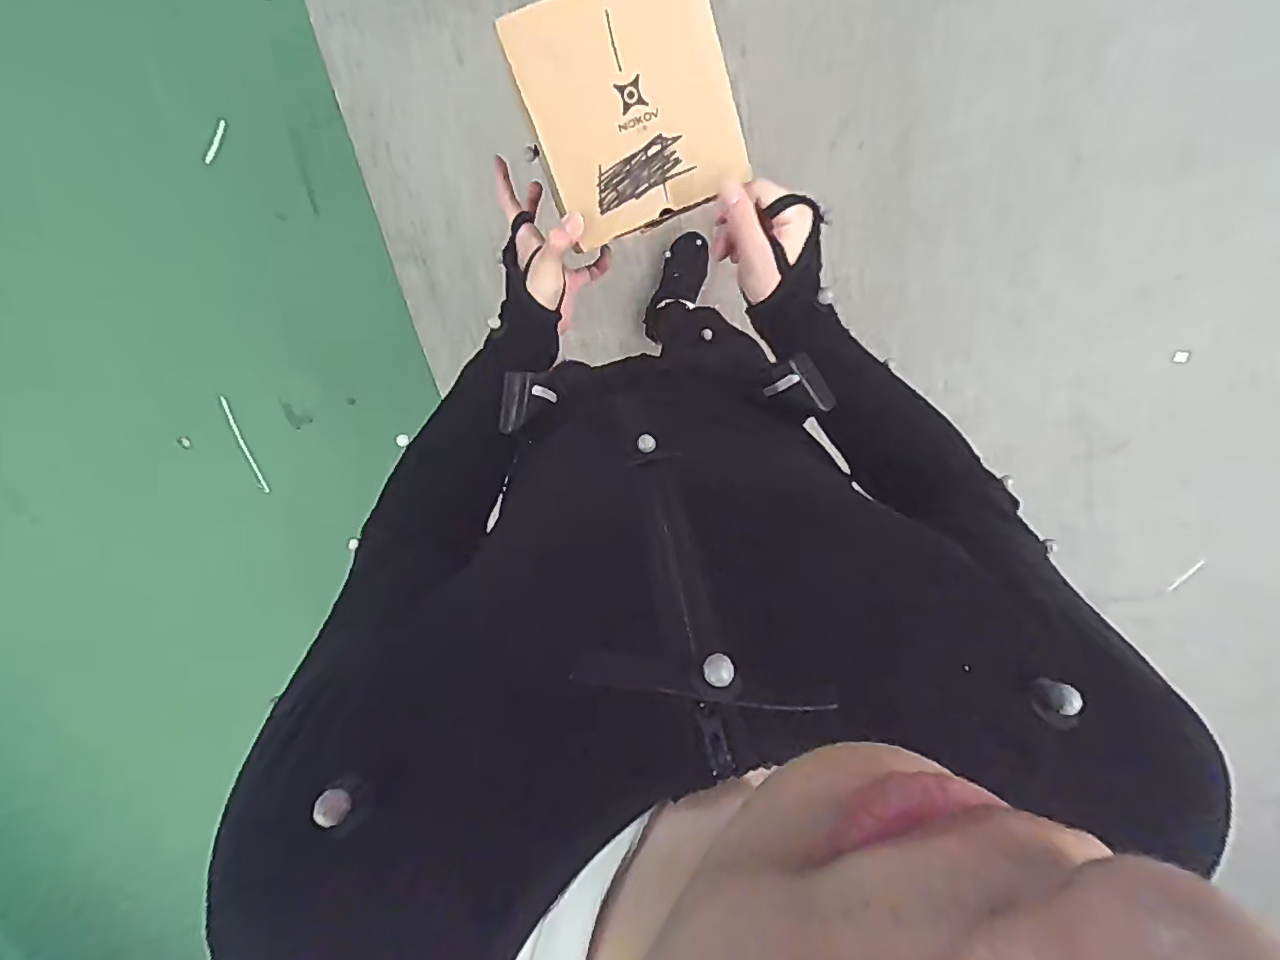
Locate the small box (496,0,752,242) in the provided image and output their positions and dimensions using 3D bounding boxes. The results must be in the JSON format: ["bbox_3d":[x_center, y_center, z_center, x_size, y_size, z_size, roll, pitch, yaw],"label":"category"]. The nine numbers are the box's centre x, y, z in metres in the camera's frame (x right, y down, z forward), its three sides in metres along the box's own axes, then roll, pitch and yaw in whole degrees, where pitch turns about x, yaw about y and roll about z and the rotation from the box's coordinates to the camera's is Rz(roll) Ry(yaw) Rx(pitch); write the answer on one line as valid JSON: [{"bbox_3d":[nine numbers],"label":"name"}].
[{"bbox_3d":[-0.016,-0.340,0.507,0.168,0.176,0.179,-22,113,0],"label":"small box"}]
